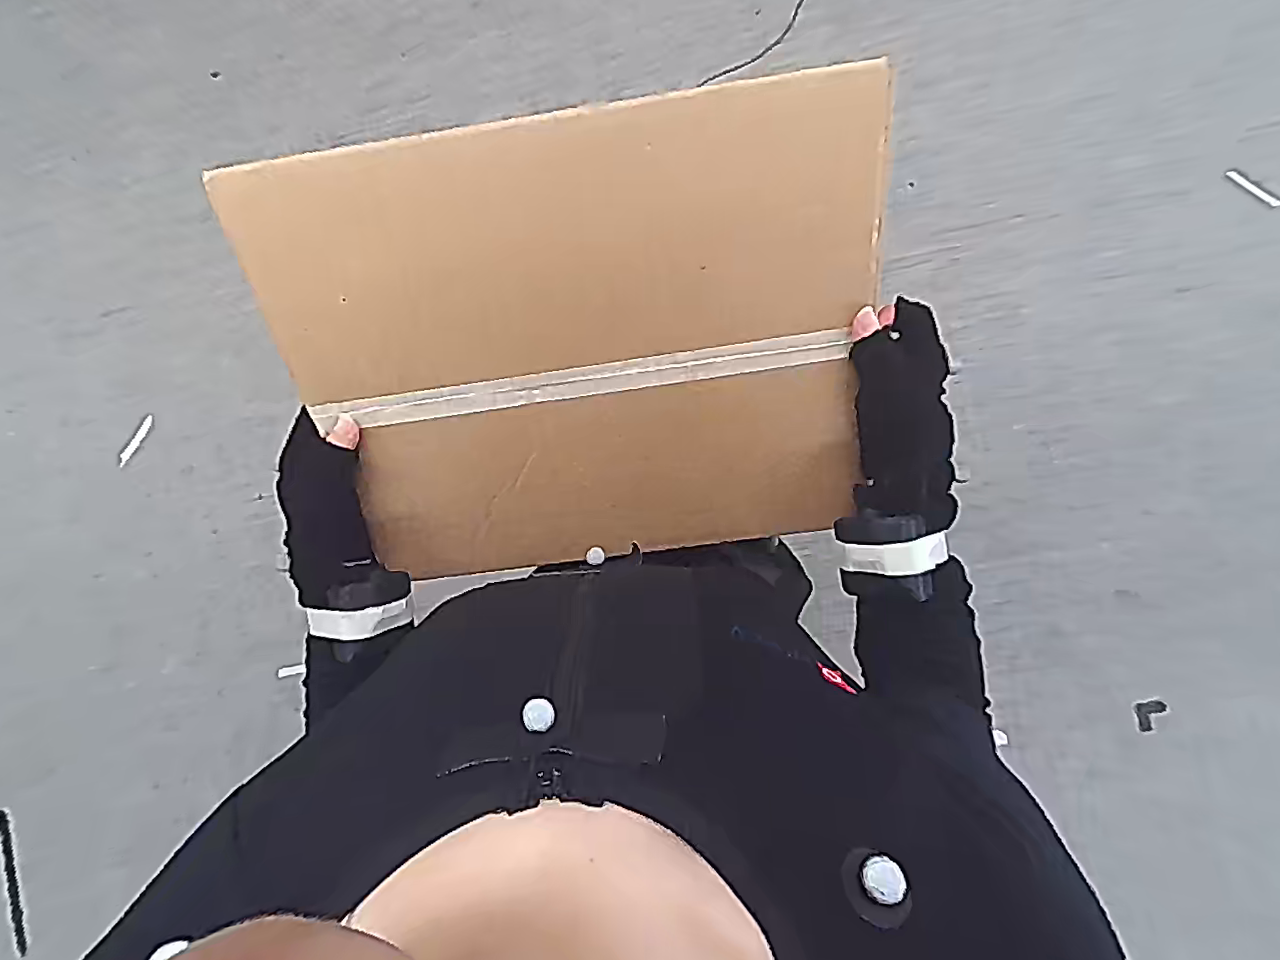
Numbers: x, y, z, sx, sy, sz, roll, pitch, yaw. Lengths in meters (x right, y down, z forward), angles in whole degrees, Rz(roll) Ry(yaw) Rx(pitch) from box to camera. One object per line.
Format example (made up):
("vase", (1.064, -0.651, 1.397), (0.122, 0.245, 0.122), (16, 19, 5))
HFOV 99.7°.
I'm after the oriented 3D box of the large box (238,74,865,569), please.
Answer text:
("large box", (-0.040, -0.152, 0.530), (0.408, 0.320, 0.320), (-8, 119, 3))
